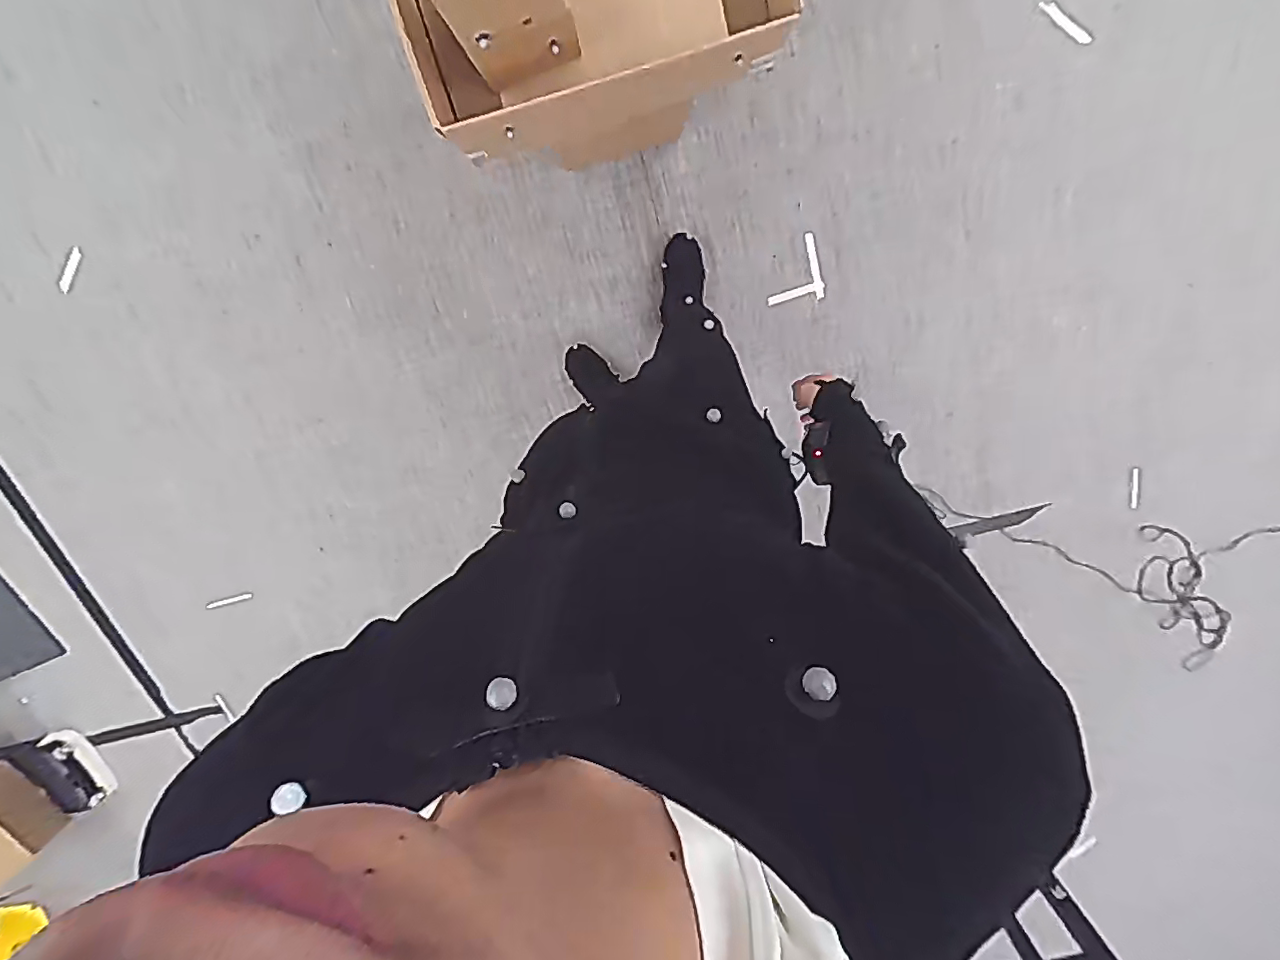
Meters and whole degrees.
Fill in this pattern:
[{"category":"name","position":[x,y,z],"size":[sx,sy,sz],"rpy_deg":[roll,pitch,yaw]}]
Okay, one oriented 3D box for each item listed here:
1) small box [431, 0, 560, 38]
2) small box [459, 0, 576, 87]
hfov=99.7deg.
[{"category":"small box","position":[-0.215,-0.729,0.709],"size":[0.168,0.176,0.179],"rpy_deg":[-18,106,6]},{"category":"small box","position":[-0.211,-0.777,0.865],"size":[0.179,0.176,0.168],"rpy_deg":[-19,107,7]}]
